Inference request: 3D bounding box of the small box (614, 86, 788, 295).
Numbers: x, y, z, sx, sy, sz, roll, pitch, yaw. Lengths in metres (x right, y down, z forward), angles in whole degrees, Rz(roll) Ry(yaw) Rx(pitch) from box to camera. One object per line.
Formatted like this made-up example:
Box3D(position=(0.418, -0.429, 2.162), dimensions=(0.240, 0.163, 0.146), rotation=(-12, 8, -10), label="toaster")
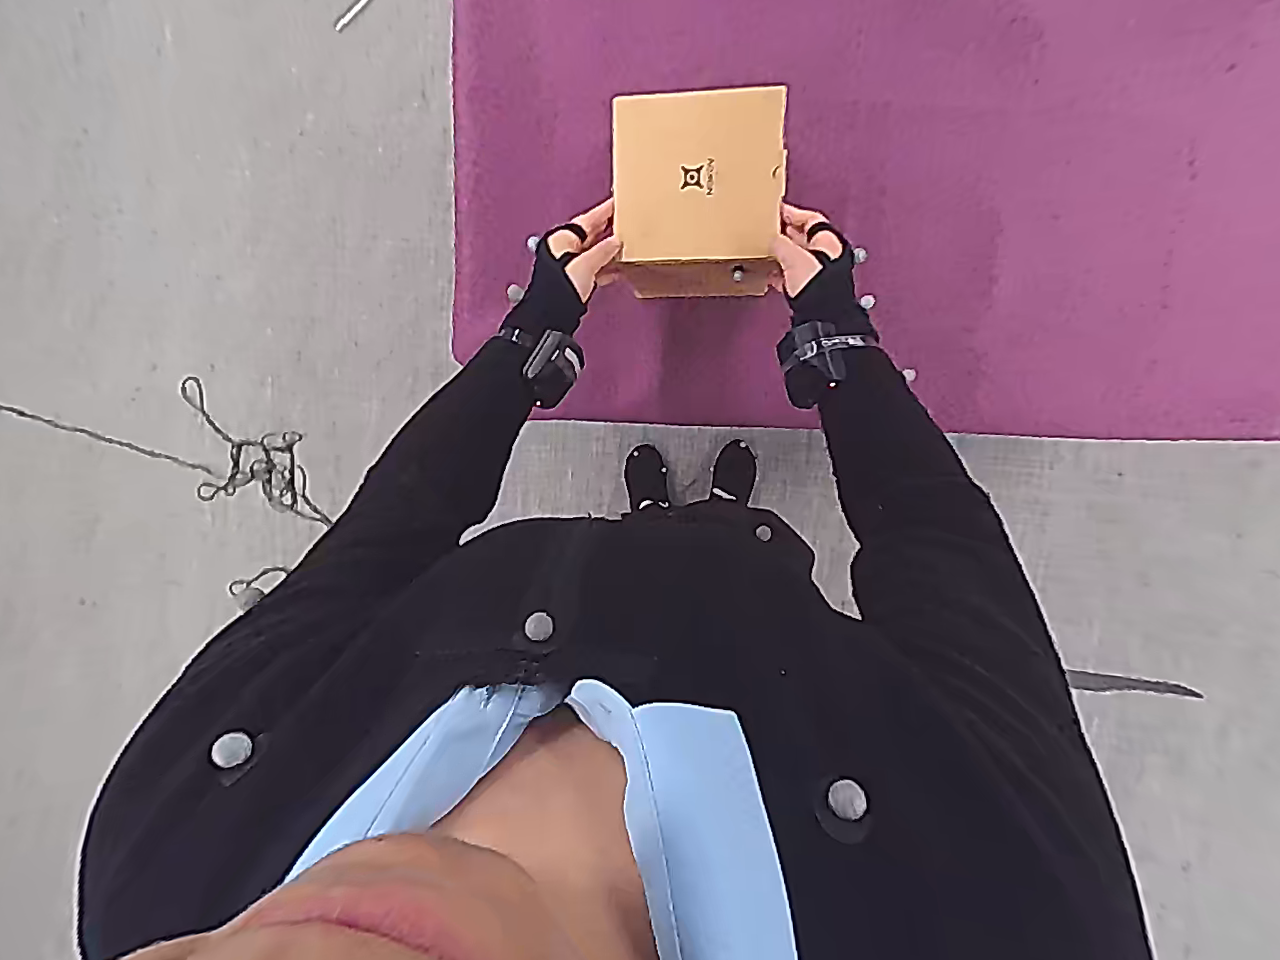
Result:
Box3D(position=(0.070, -0.319, 0.633), dimensions=(0.179, 0.176, 0.168), rotation=(1, 96, 7), label="small box")
